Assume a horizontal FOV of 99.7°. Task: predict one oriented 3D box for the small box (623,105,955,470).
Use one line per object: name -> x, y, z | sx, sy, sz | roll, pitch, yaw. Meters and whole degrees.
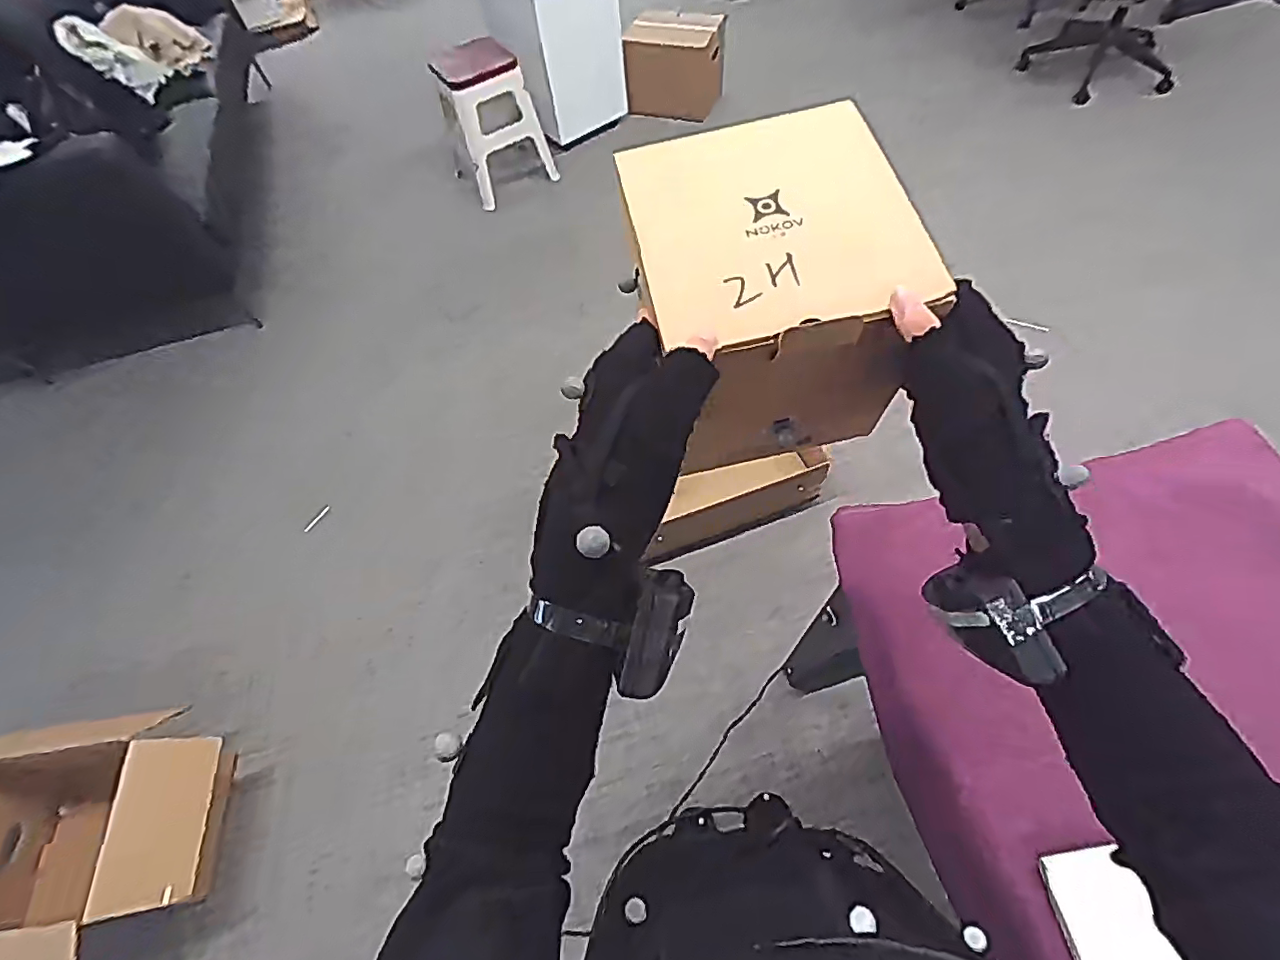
small box -> 0.087, -0.130, 0.406 | 0.168, 0.176, 0.179 | -12, 66, 1
